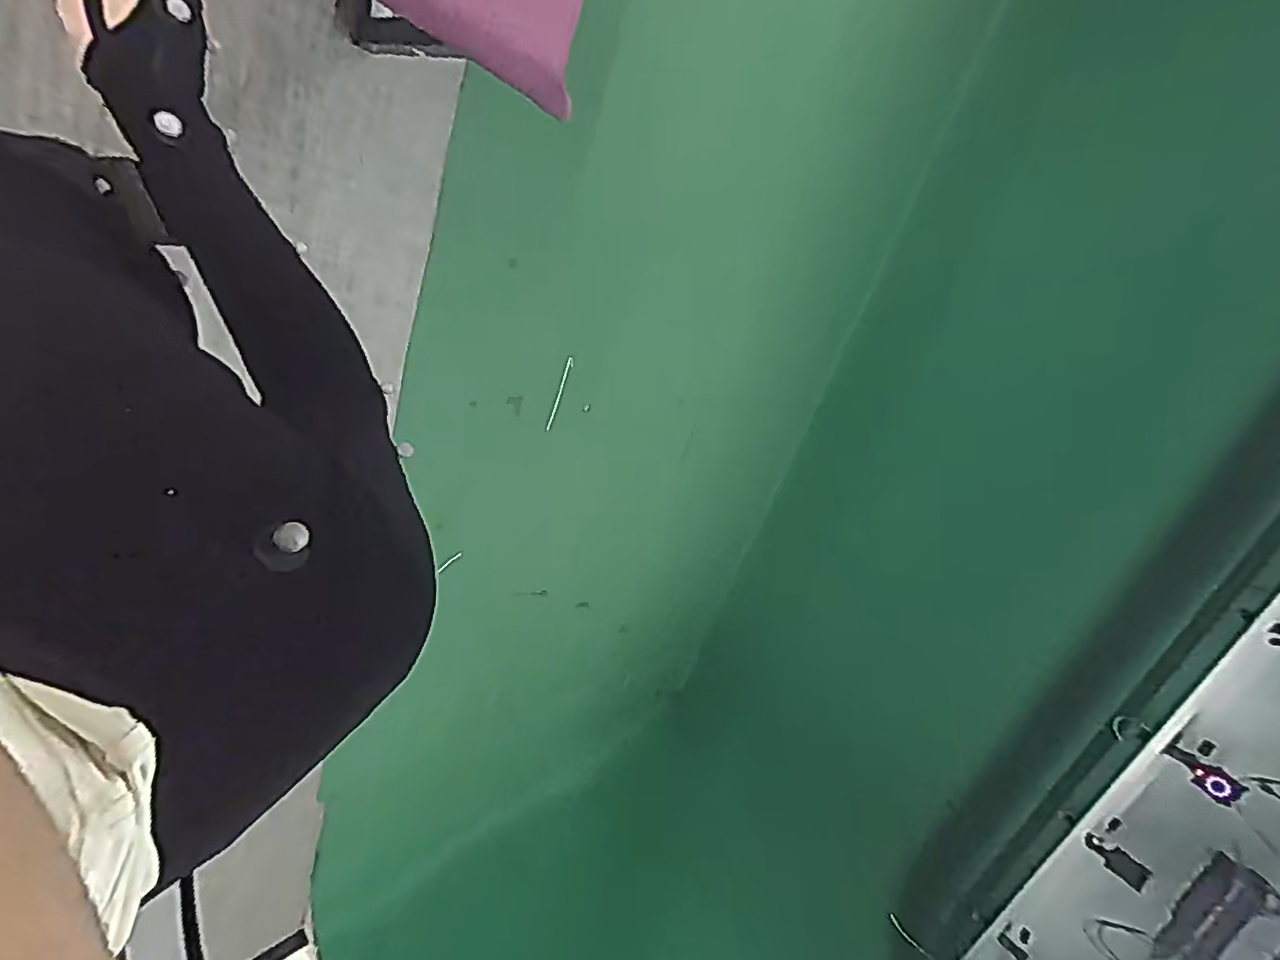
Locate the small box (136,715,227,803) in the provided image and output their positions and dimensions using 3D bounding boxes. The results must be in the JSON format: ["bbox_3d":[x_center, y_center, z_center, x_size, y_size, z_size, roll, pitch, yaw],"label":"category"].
[{"bbox_3d":[-1.419,0.839,1.671,0.179,0.176,0.168,0,117,-52],"label":"small box"}]
